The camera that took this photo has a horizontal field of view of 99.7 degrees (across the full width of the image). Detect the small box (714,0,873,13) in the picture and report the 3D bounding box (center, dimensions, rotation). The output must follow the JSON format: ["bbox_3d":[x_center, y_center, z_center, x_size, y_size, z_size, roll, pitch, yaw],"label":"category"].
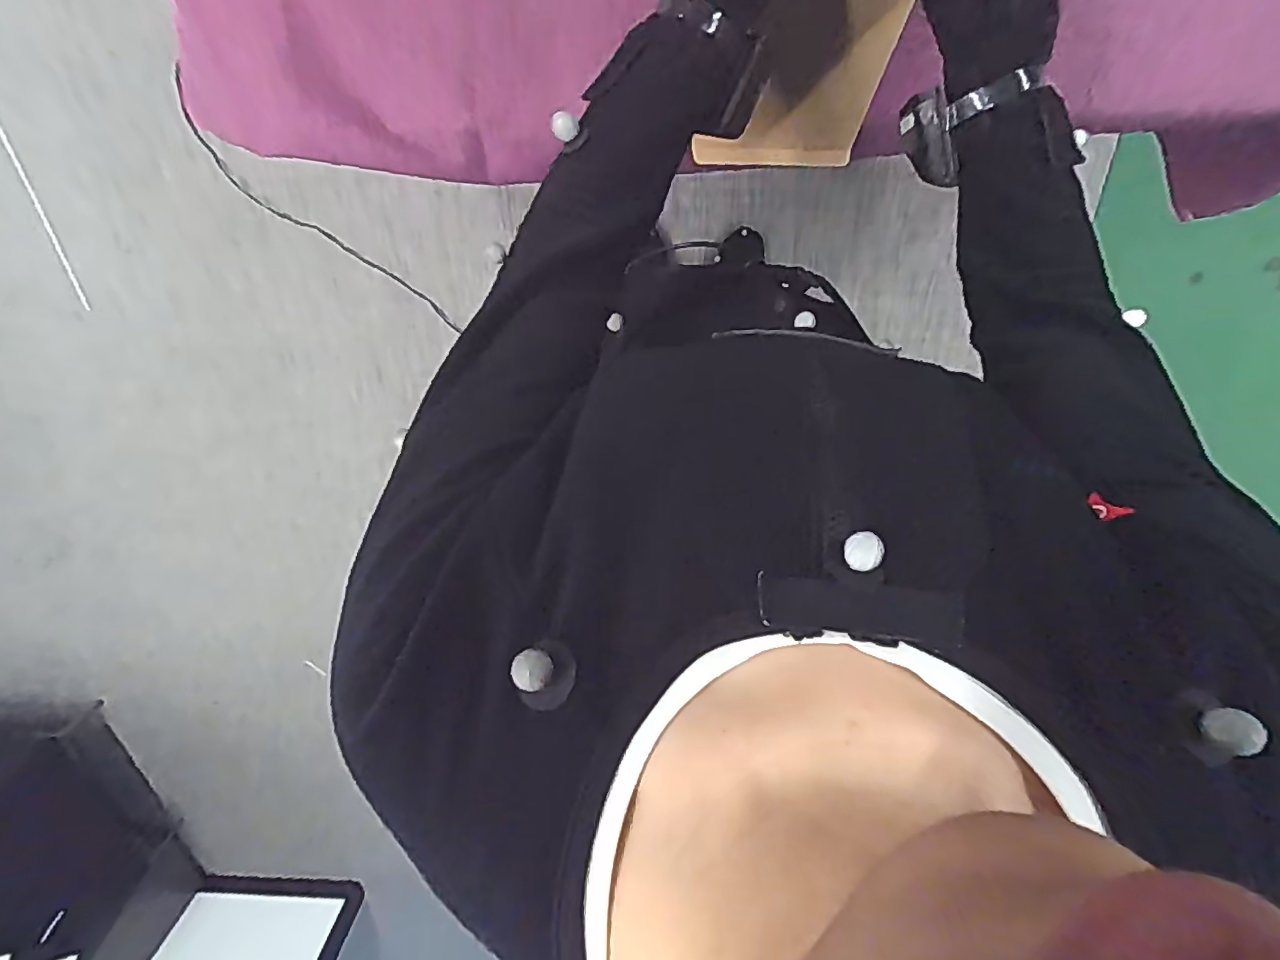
[{"bbox_3d":[0.136,-0.489,0.413,0.168,0.176,0.179,2,116,3],"label":"small box"}]
